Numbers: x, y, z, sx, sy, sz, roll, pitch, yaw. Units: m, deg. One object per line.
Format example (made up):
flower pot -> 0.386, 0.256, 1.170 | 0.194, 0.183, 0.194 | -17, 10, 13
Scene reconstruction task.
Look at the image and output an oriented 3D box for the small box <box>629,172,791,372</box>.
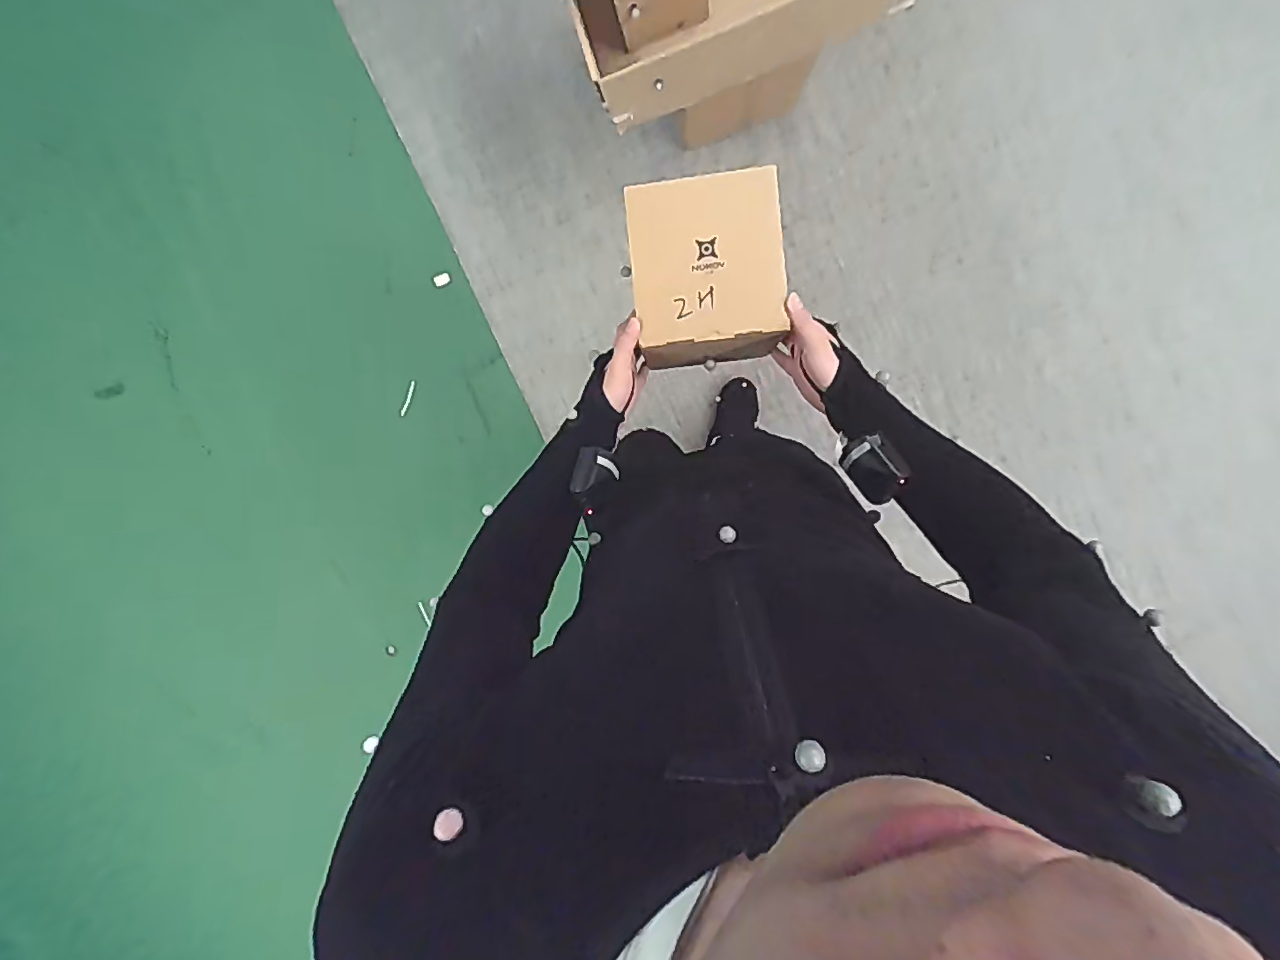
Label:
small box -> 0.080, -0.239, 0.662 | 0.168, 0.176, 0.179 | -5, 92, 5
